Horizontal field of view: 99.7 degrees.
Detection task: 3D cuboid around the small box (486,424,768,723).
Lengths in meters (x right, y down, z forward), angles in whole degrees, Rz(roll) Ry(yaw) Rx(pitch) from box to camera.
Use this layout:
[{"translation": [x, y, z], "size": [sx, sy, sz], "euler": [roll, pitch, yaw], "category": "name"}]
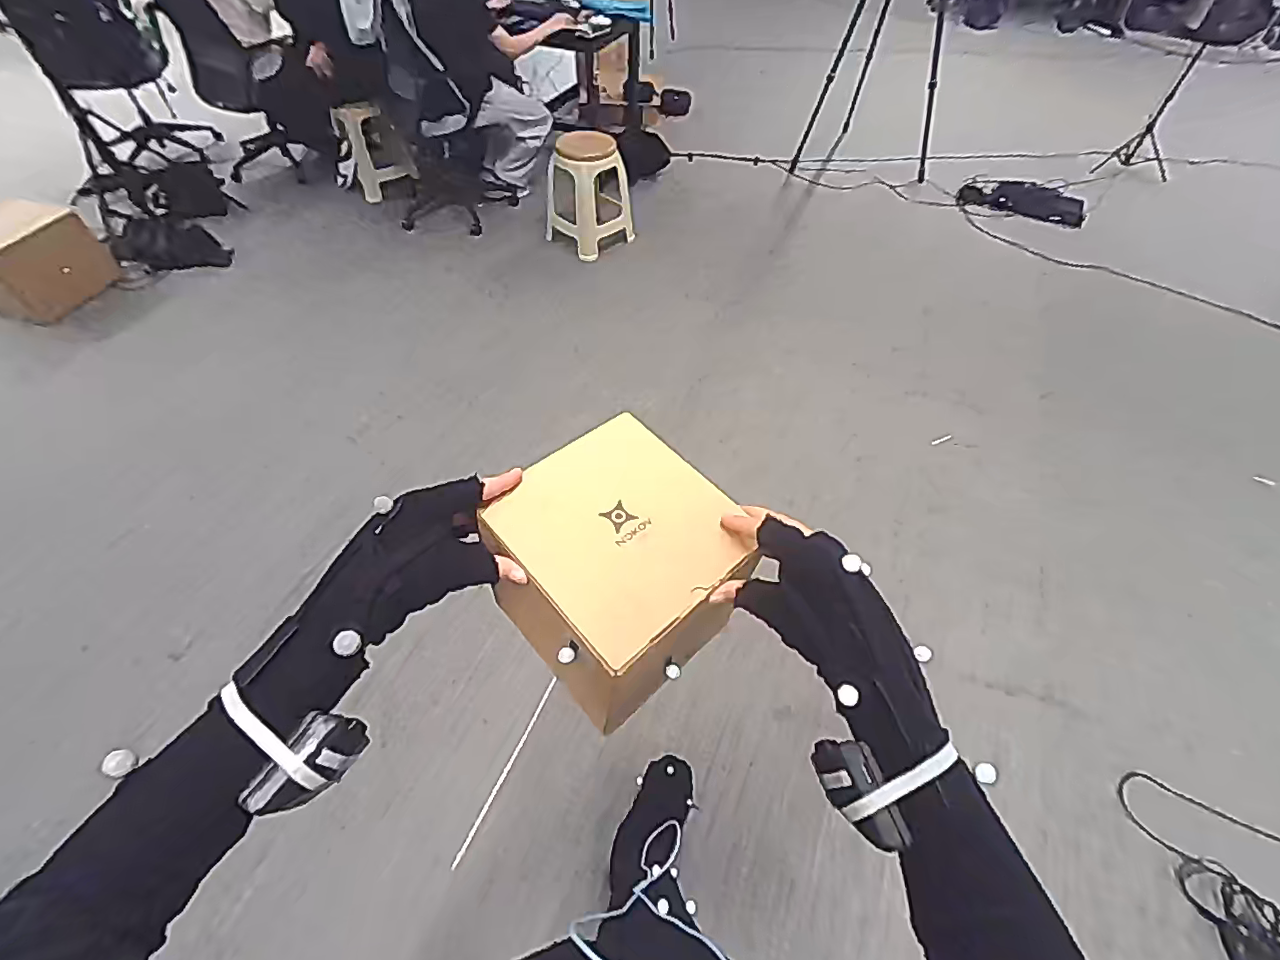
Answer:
[{"translation": [-0.021, 0.087, 0.497], "size": [0.168, 0.176, 0.179], "euler": [-32, 64, -29], "category": "small box"}]
